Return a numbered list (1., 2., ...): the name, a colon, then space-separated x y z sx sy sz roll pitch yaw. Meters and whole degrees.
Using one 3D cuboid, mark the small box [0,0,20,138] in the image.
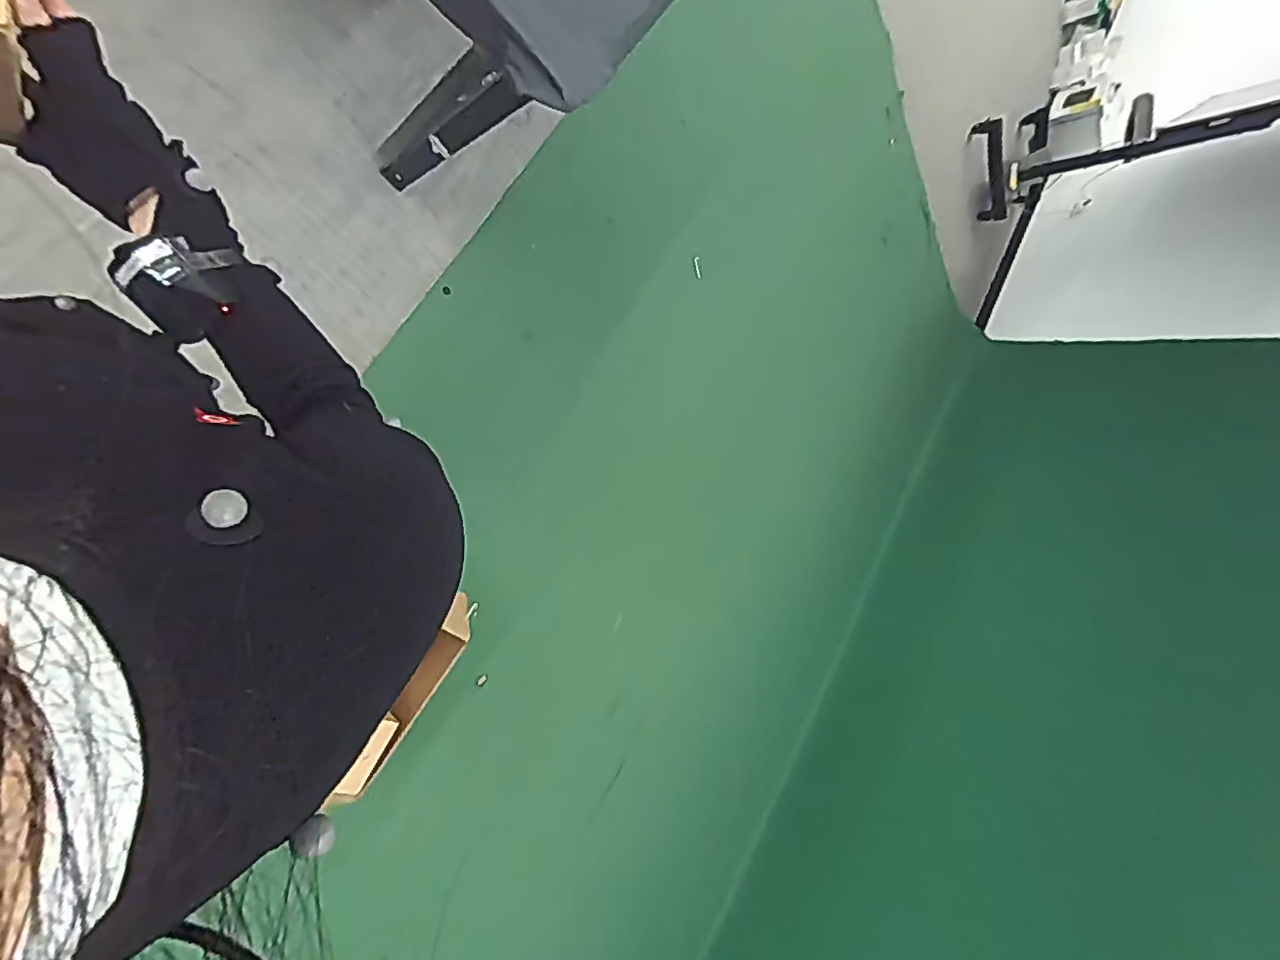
1. small box: -0.466 -0.331 0.290 0.168 0.176 0.179 -6 98 -47
